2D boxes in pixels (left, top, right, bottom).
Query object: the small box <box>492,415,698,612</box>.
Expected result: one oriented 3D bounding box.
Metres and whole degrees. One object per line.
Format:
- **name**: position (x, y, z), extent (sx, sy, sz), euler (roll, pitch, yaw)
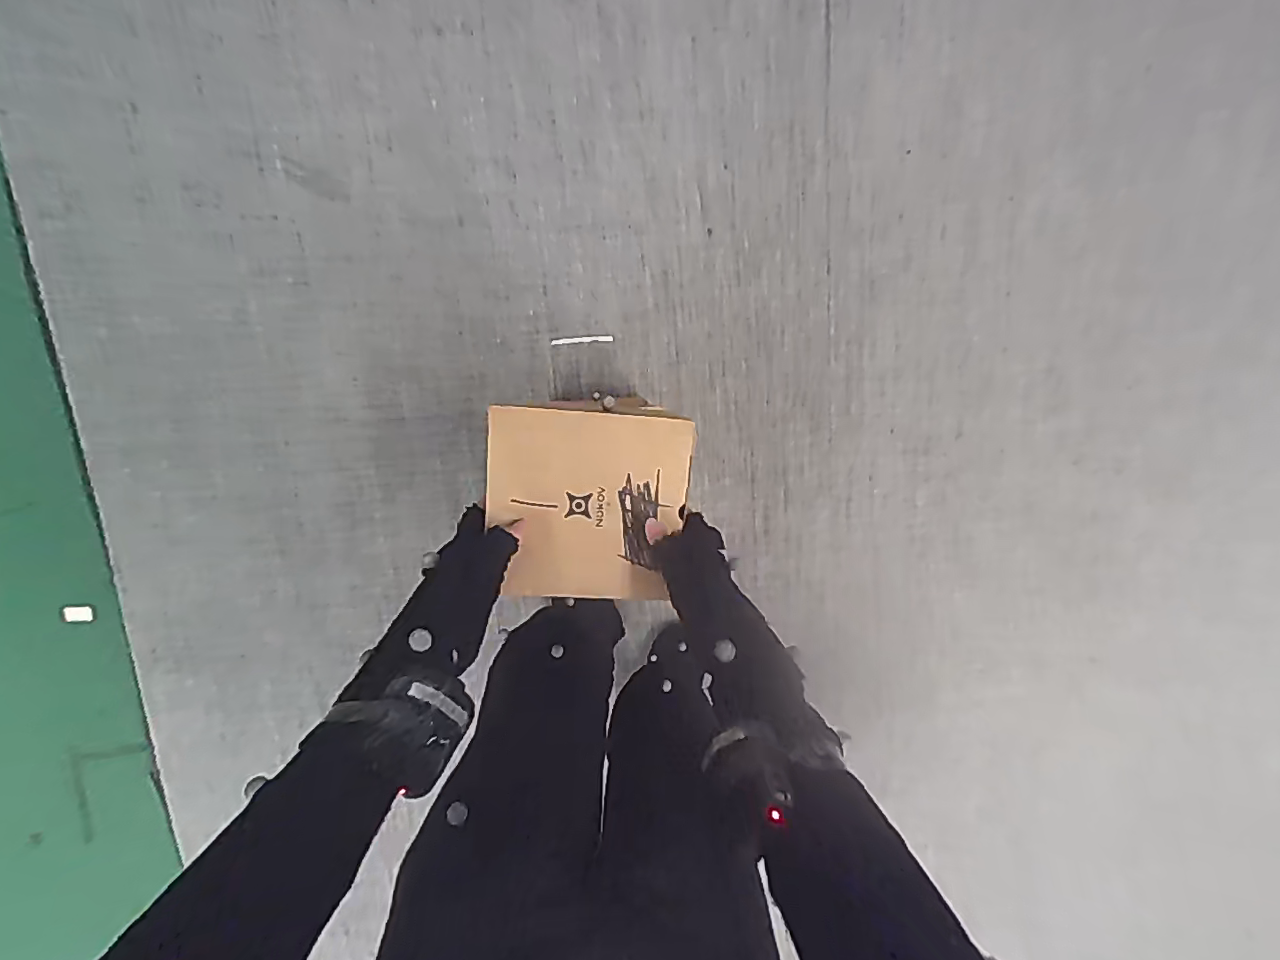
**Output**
- **small box**: position (-0.049, 0.022, 0.546), extent (0.179, 0.176, 0.168), euler (1, 100, -7)
